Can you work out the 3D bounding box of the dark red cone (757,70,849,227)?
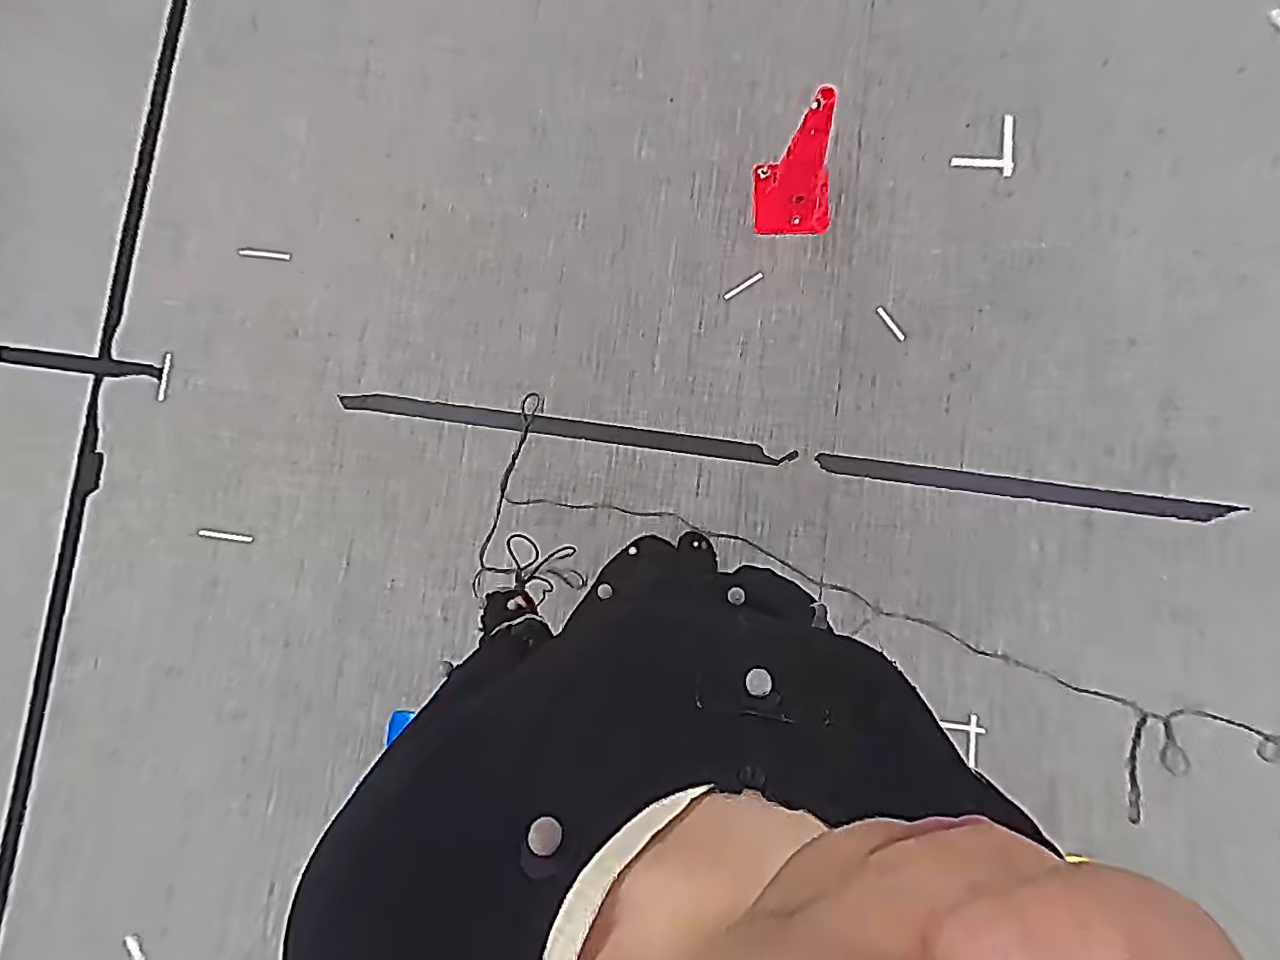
[{"bbox_3d":[0.395,-0.769,1.245,0.202,0.394,0.201,0,86,3],"label":"dark red cone"}]
